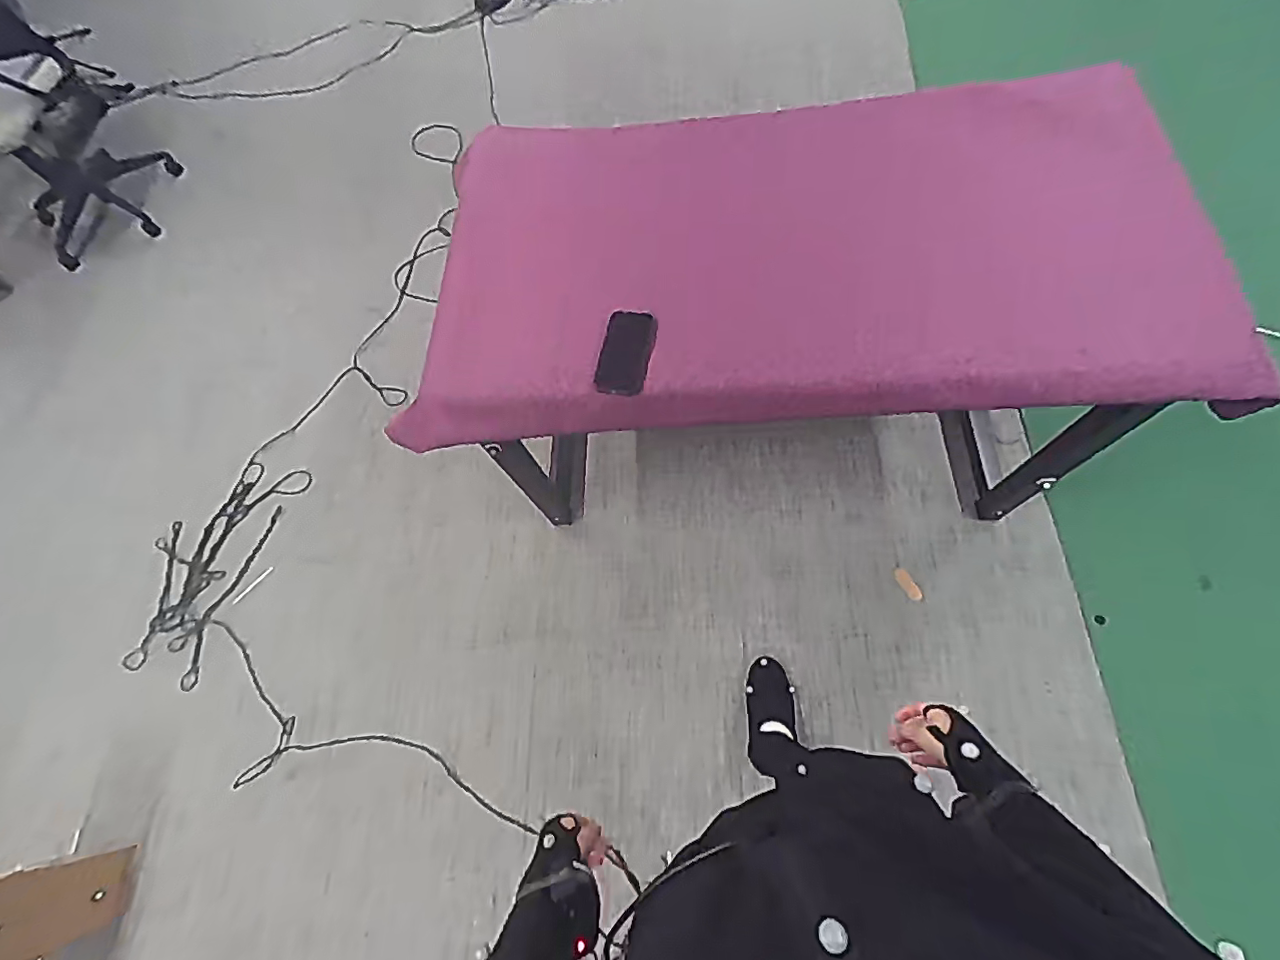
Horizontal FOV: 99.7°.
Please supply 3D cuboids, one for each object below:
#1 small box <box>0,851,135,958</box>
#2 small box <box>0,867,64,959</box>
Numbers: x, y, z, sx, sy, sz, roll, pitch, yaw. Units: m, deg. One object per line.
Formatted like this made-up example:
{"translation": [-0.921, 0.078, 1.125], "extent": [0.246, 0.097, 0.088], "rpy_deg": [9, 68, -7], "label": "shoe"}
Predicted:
{"translation": [-1.344, 0.987, 1.258], "extent": [0.179, 0.176, 0.168], "rpy_deg": [-10, 66, 4], "label": "small box"}
{"translation": [-1.353, 0.930, 1.106], "extent": [0.168, 0.176, 0.179], "rpy_deg": [-13, 66, 1], "label": "small box"}
